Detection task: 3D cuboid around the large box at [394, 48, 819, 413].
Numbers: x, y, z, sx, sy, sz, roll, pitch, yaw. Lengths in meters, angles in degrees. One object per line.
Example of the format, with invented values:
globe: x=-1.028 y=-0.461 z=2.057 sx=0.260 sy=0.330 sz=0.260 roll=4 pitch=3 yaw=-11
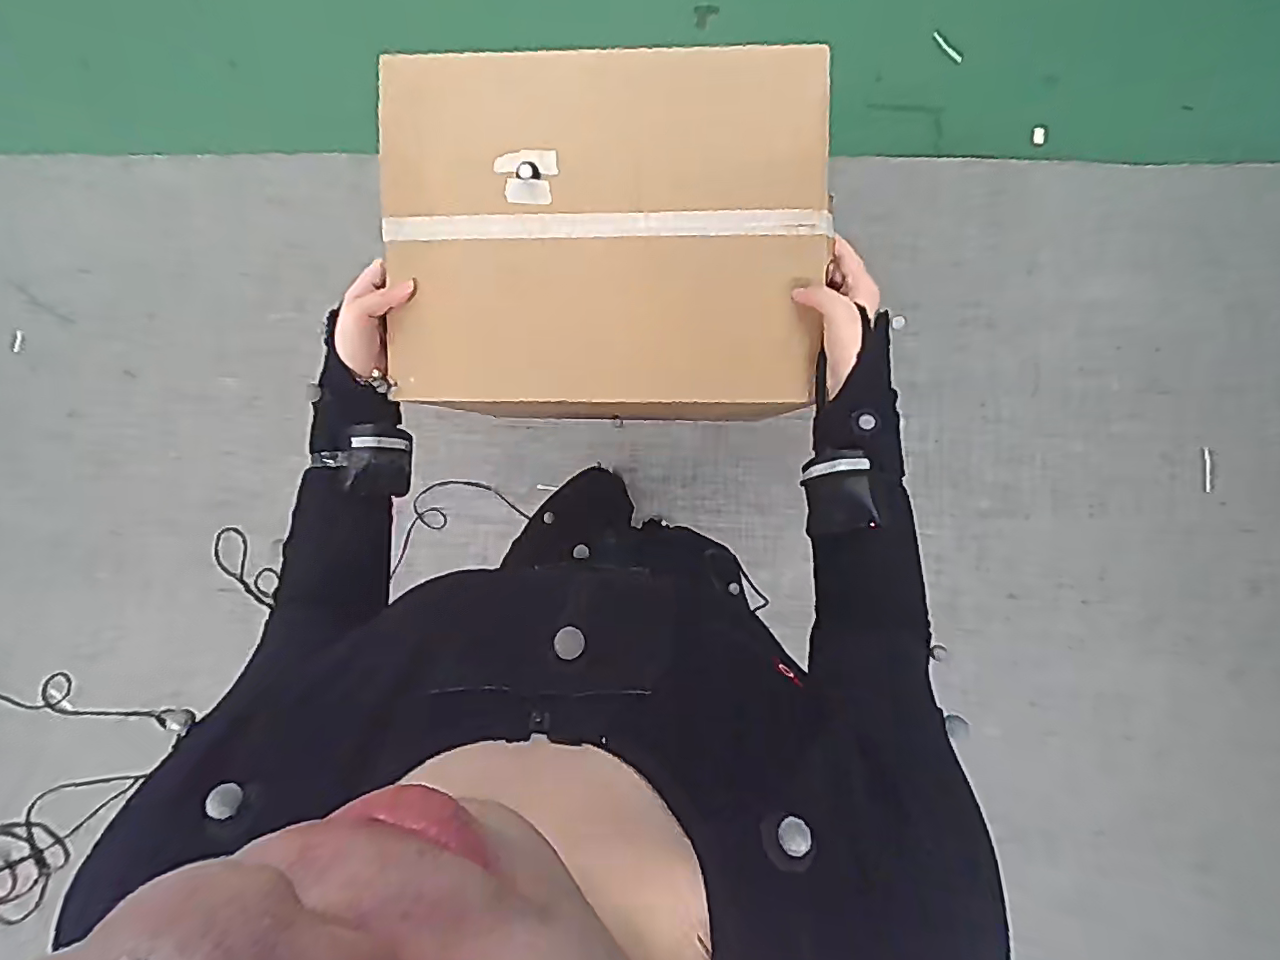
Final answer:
large box: x=-0.022 y=-0.244 z=0.655 sx=0.408 sy=0.320 sz=0.320 roll=0 pitch=93 yaw=4
